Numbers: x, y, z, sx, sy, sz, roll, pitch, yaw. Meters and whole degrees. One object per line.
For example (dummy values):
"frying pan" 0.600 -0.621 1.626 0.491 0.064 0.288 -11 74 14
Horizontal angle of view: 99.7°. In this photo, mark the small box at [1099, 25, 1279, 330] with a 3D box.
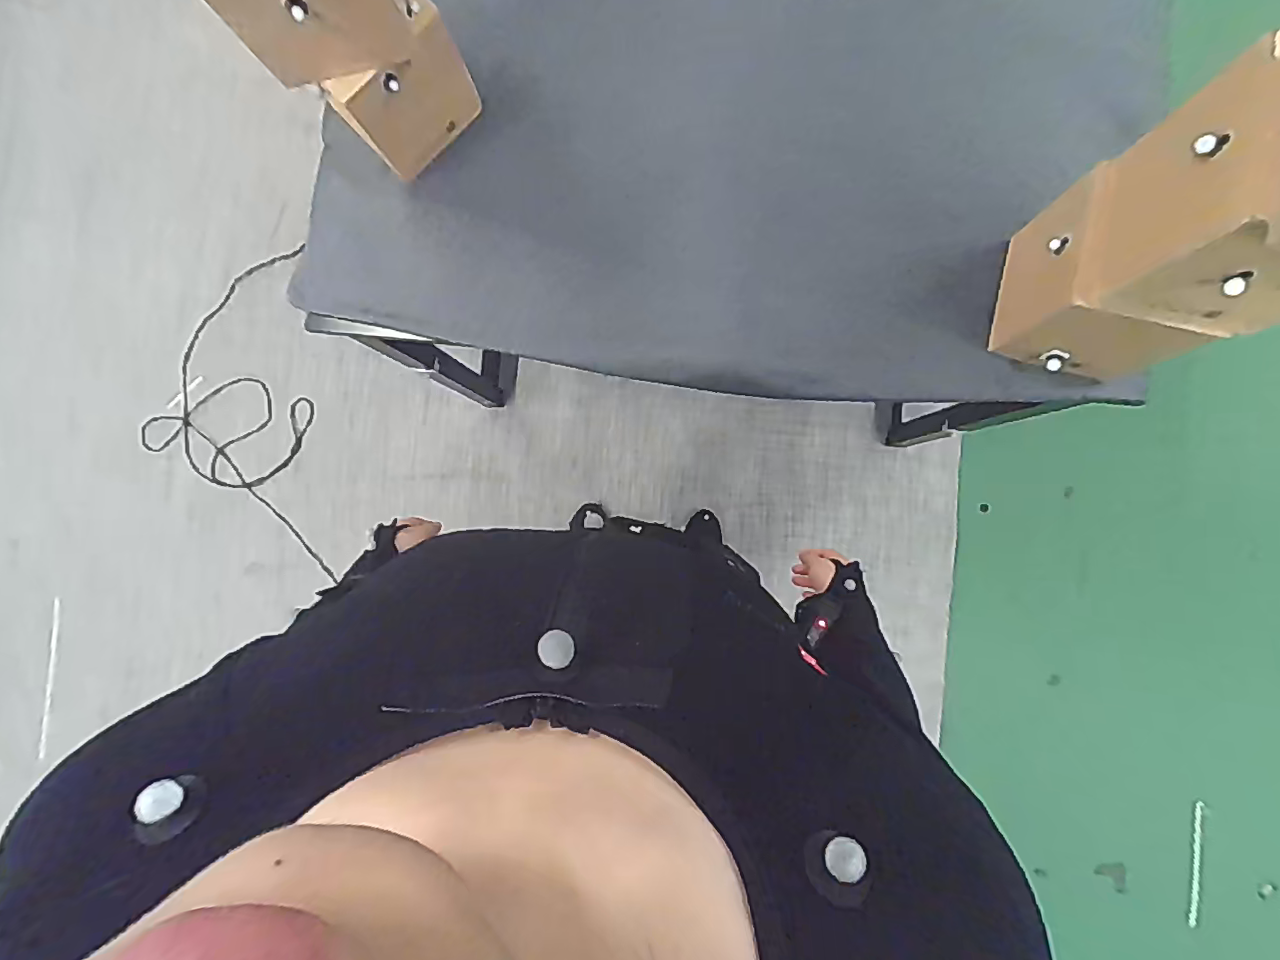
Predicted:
"small box" 0.579 -0.260 0.502 0.168 0.176 0.179 12 84 5

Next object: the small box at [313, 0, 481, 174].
"small box" -0.351 -0.566 0.731 0.168 0.176 0.179 -44 87 1

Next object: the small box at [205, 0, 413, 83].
"small box" -0.360 -0.568 0.566 0.179 0.176 0.168 -12 88 3

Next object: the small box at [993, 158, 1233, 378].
"small box" 0.573 -0.246 0.664 0.168 0.176 0.179 15 86 5
